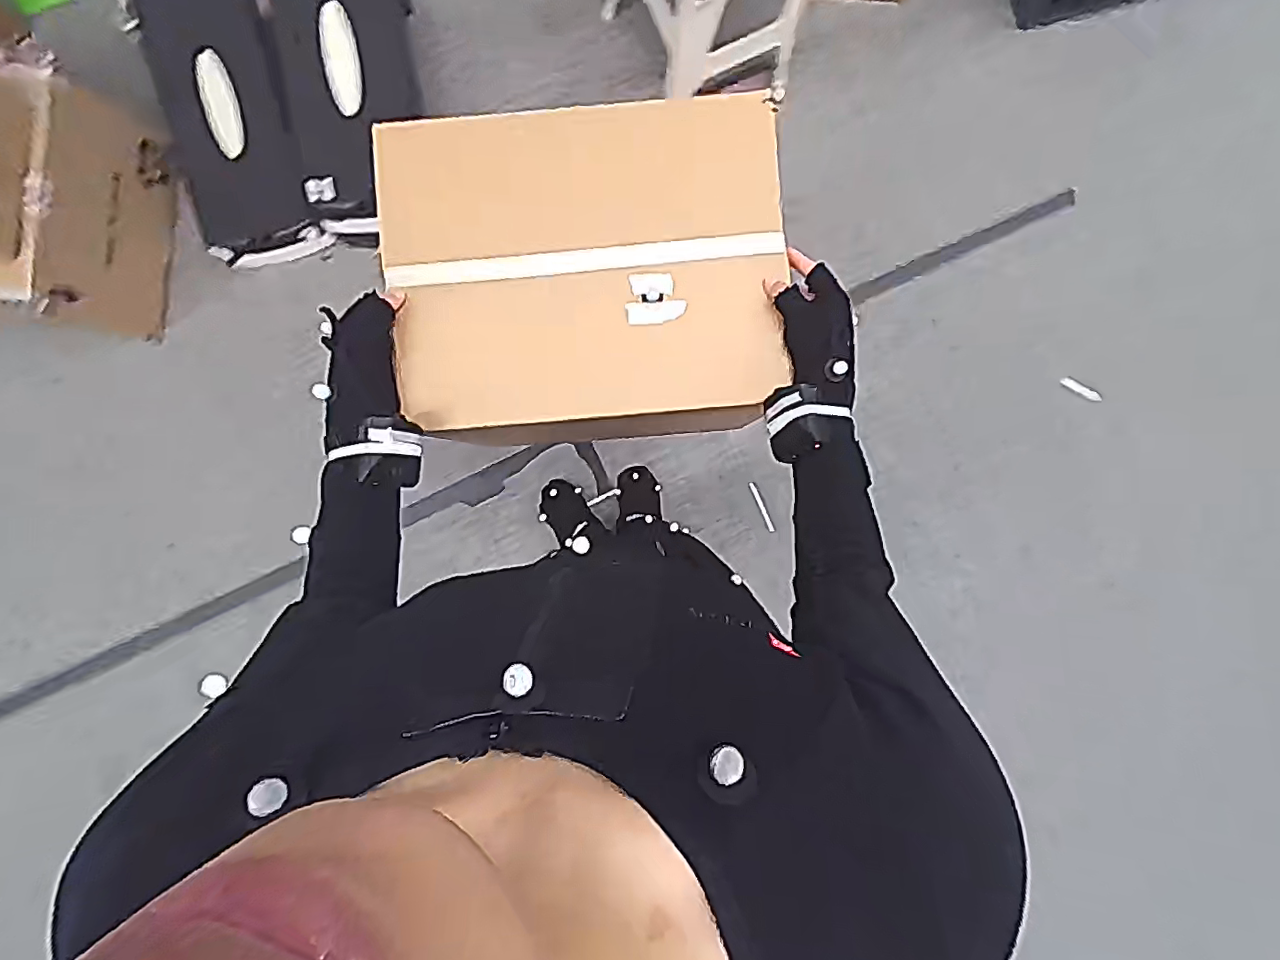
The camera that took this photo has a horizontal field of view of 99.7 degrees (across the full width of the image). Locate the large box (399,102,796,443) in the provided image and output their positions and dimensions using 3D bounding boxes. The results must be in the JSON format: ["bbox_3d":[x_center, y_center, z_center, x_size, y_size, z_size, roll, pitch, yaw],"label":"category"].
[{"bbox_3d":[-0.046,-0.227,0.715,0.408,0.320,0.320,-4,91,0],"label":"large box"}]
